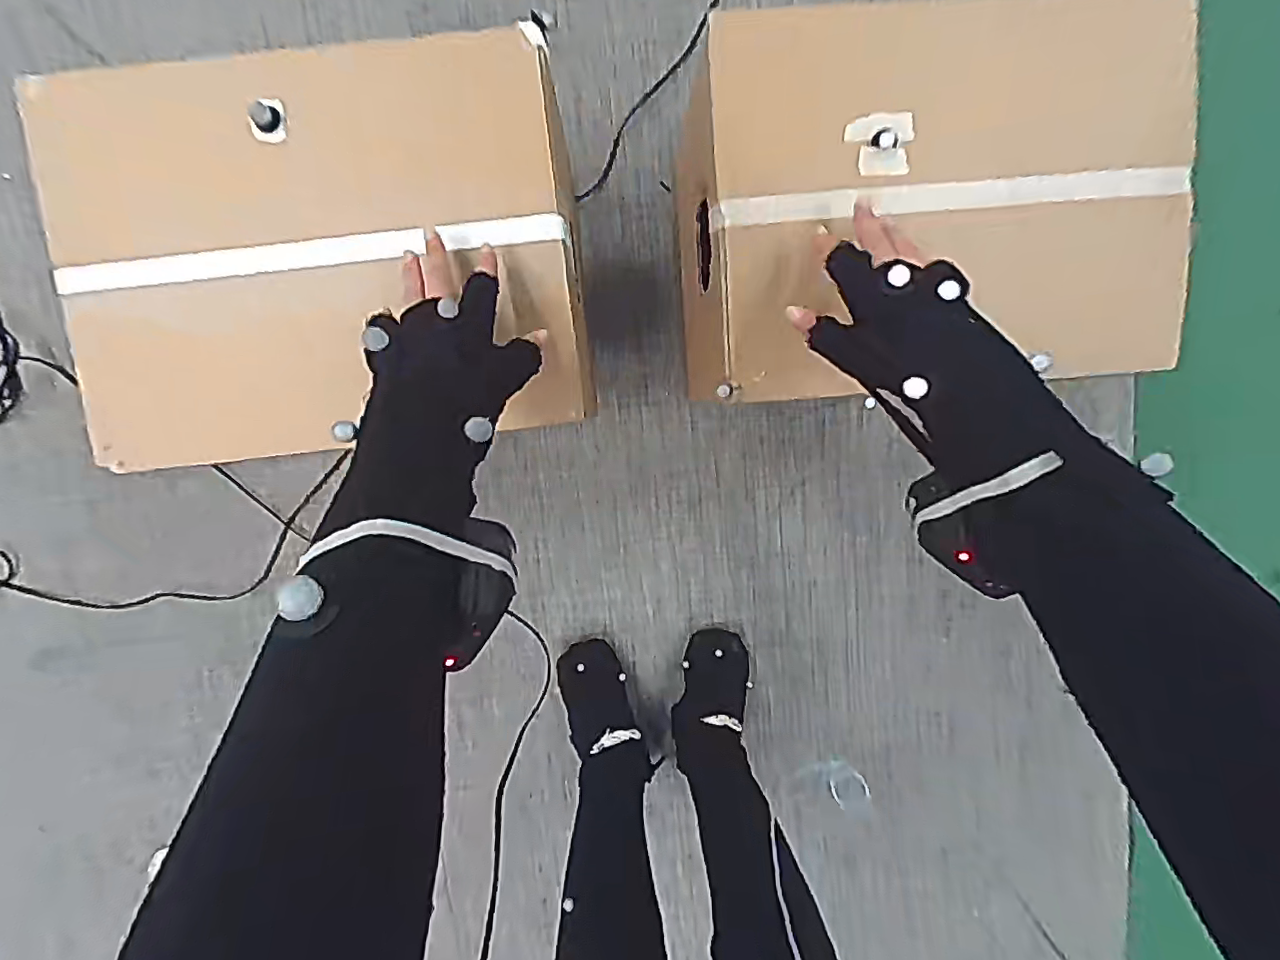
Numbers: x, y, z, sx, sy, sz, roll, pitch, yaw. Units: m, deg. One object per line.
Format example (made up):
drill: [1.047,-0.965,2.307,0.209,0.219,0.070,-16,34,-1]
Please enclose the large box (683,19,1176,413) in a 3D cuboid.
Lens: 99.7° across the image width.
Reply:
large box: [0.271,-0.251,0.629,0.408,0.320,0.320,-4,97,-1]
